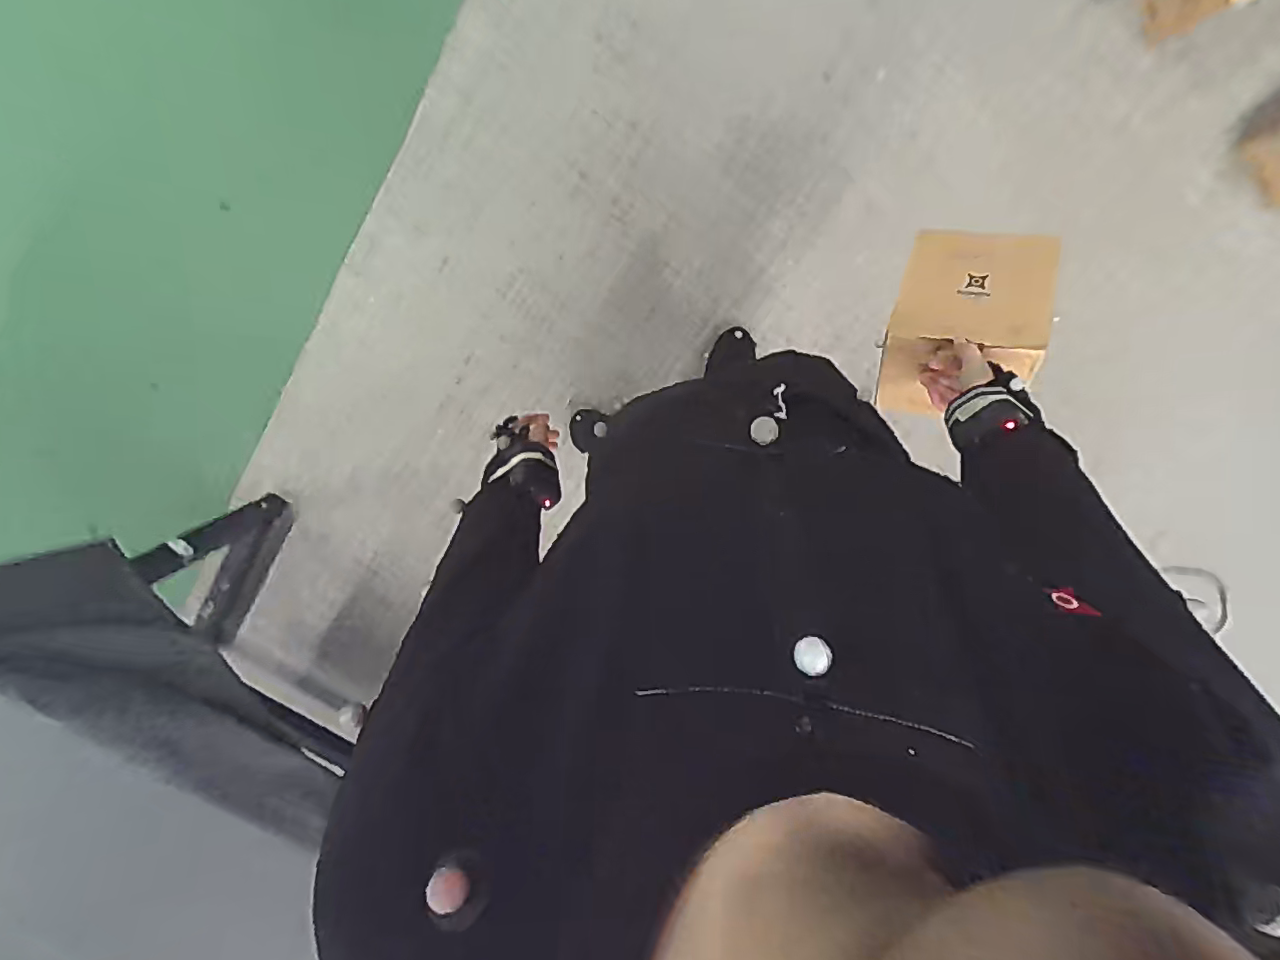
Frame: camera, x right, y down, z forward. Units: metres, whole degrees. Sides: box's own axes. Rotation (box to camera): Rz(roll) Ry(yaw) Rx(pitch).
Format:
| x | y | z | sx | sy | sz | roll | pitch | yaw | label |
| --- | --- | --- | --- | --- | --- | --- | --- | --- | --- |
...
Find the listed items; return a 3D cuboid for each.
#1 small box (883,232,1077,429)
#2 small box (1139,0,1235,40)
| x | y | z | sx | sy | sz | roll | pitch | yaw | label |
| --- | --- | --- | --- | --- | --- | --- | --- | --- | --- |
| 0.426 | -0.189 | 0.703 | 0.168 | 0.176 | 0.179 | 15 | 70 | 23 | small box |
| 1.030 | -0.934 | 0.945 | 0.179 | 0.176 | 0.168 | -29 | 104 | 11 | small box |
